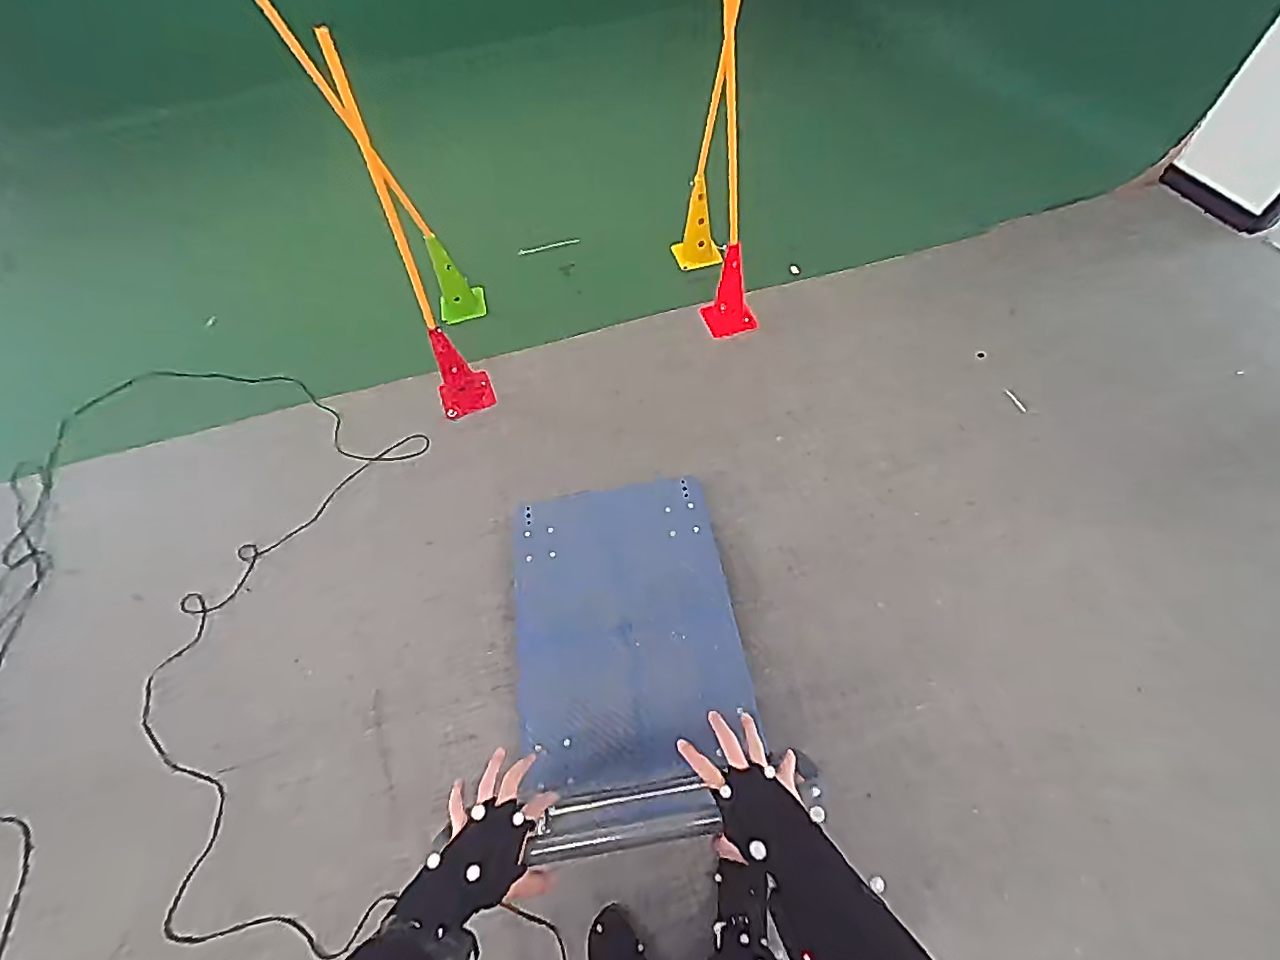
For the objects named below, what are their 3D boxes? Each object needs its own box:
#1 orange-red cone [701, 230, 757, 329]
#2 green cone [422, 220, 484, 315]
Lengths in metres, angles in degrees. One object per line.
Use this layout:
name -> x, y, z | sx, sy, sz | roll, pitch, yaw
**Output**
orange-red cone -> 0.355, -0.801, 2.104 | 0.198, 0.360, 0.199 | -15, 56, -5
green cone -> -0.818, -0.910, 2.272 | 0.200, 0.368, 0.202 | -16, 57, -4
